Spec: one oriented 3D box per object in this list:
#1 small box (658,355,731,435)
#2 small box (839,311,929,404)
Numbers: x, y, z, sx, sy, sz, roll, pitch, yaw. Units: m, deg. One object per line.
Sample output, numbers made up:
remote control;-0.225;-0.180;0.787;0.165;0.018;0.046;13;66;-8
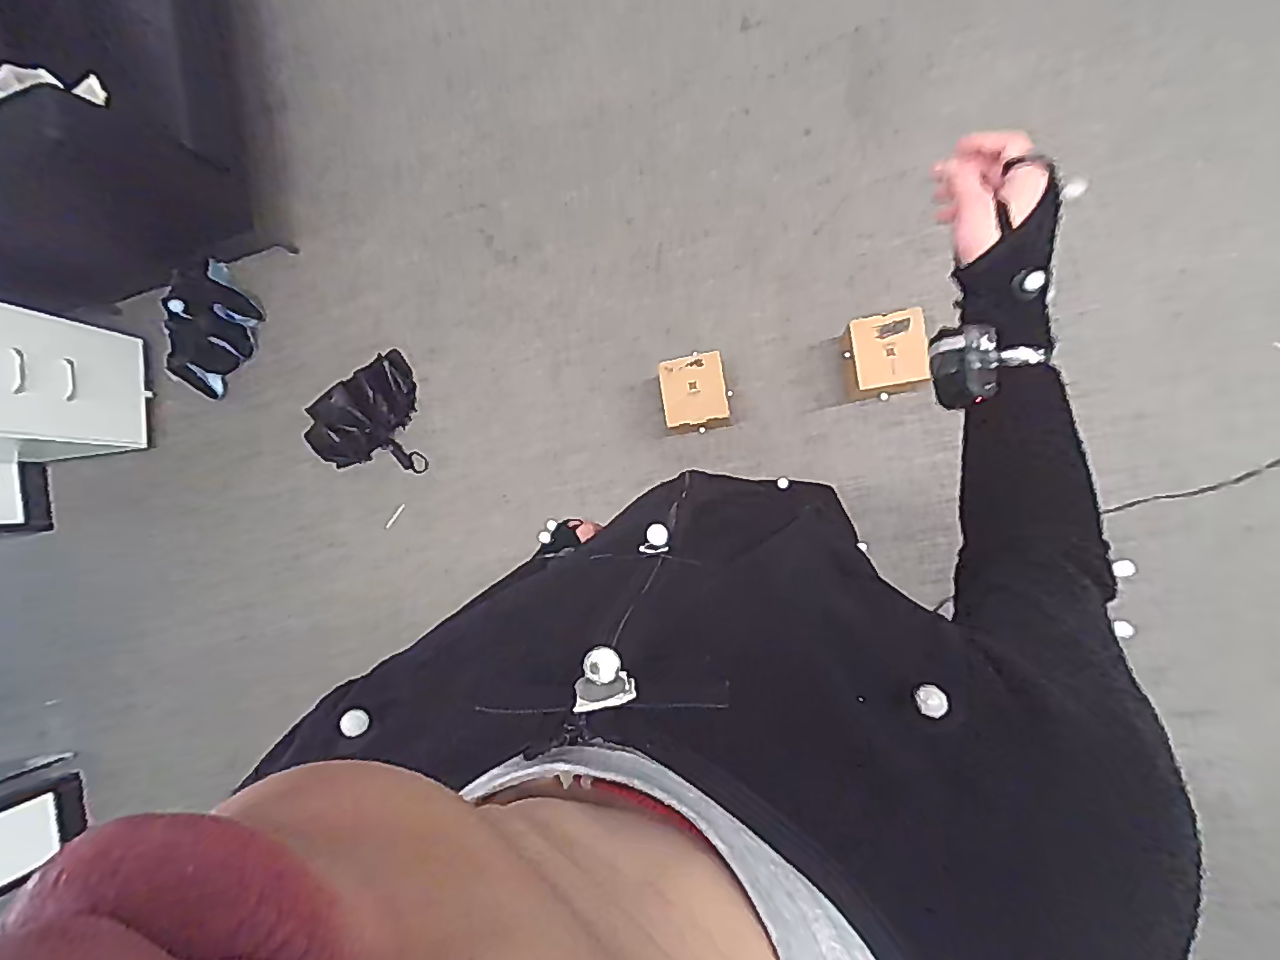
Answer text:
small box;0.154;-0.223;1.478;0.168;0.176;0.179;-9;86;13
small box;0.612;-0.304;1.375;0.168;0.176;0.179;-9;87;13
